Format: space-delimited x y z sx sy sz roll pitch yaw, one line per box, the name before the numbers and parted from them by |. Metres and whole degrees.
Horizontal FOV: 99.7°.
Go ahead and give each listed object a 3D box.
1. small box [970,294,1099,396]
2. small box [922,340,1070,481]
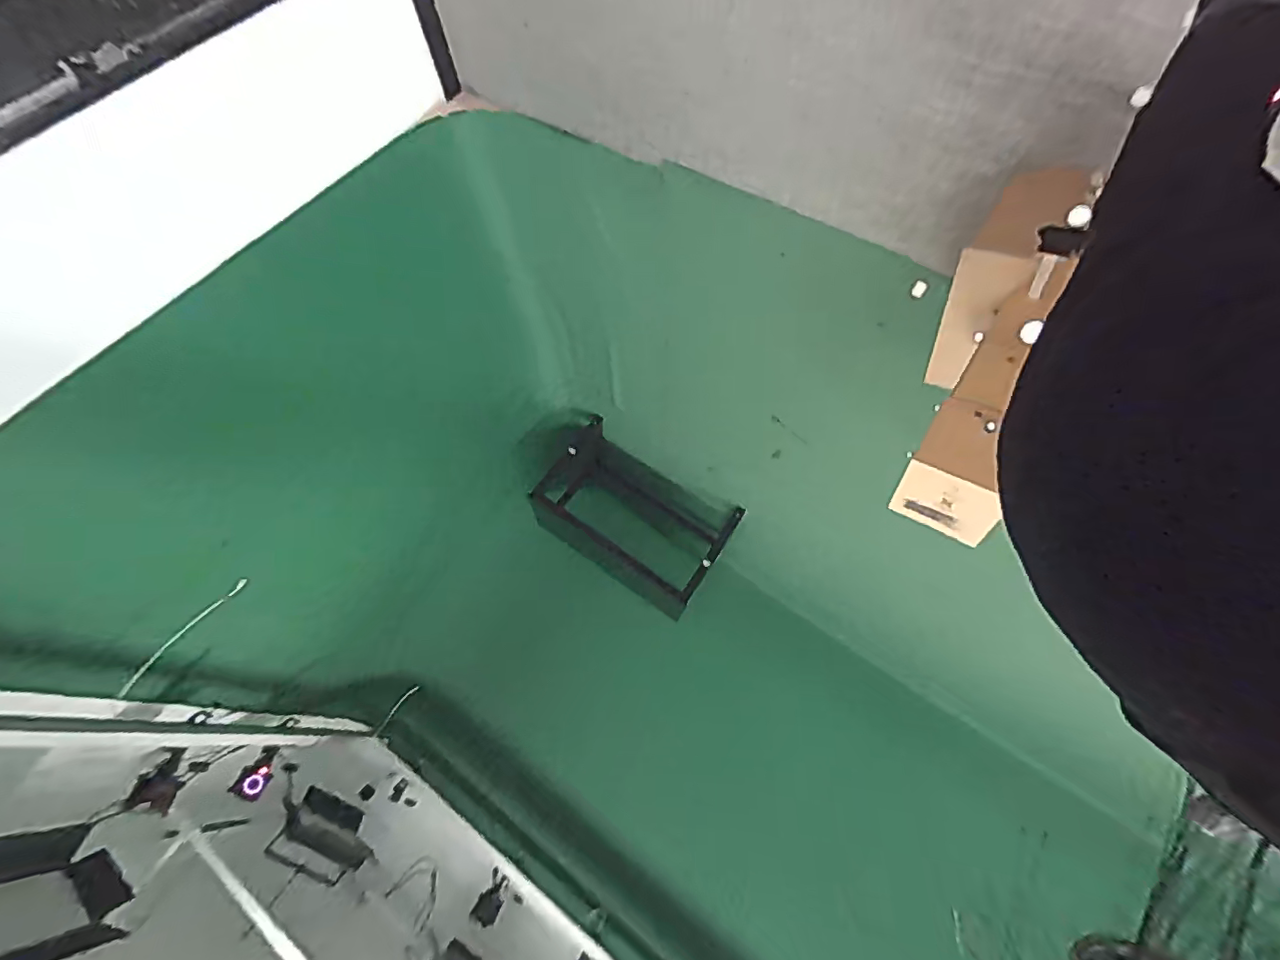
small box | 0.786 -0.251 1.106 0.179 0.176 0.168 28 157 24
small box | 0.687 -0.135 1.049 0.168 0.176 0.179 28 157 23
